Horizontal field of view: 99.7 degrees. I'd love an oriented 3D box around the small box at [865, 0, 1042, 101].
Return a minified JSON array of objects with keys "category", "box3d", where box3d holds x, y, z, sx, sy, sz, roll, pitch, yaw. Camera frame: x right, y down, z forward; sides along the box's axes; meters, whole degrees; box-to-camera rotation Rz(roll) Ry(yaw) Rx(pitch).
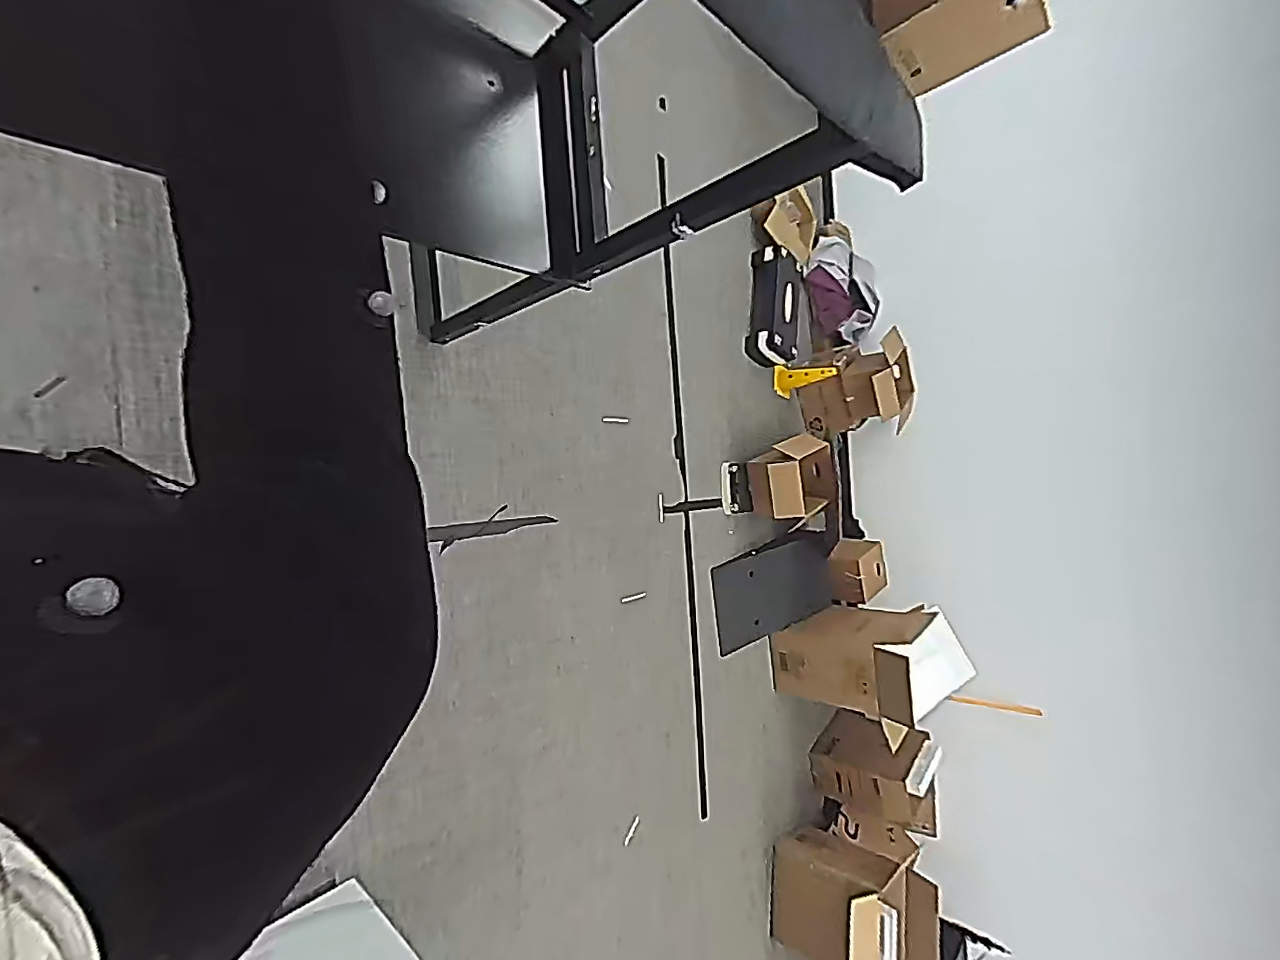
[{"category":"small box","box3d":[0.399,-0.650,0.698,0.168,0.176,0.179,-5,90,-46]}]
